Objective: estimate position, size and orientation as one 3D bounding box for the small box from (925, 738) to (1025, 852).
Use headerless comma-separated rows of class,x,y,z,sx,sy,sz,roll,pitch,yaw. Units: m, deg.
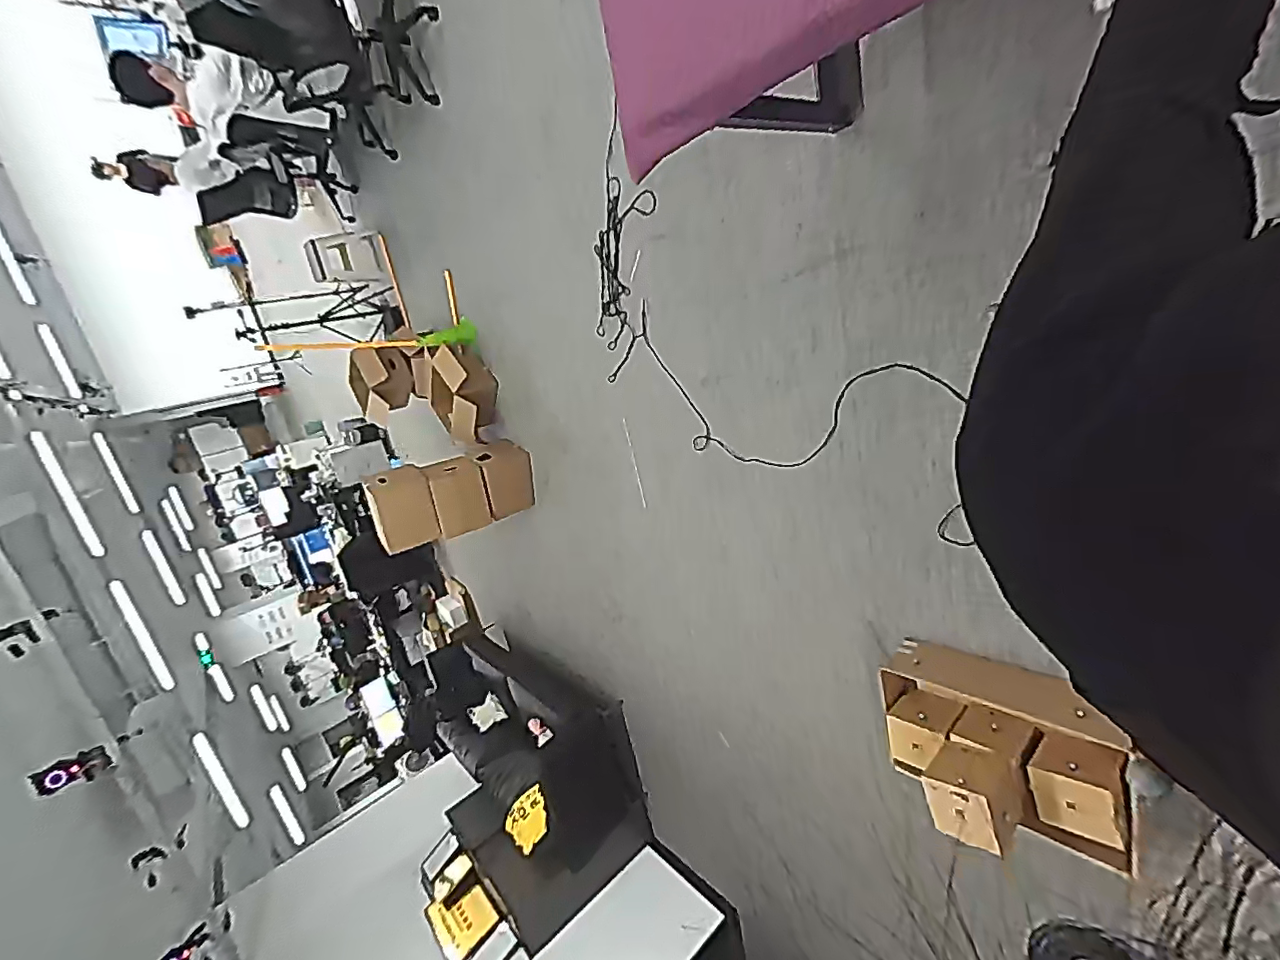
small box,0.913,0.844,1.467,0.168,0.176,0.179,-10,101,54
